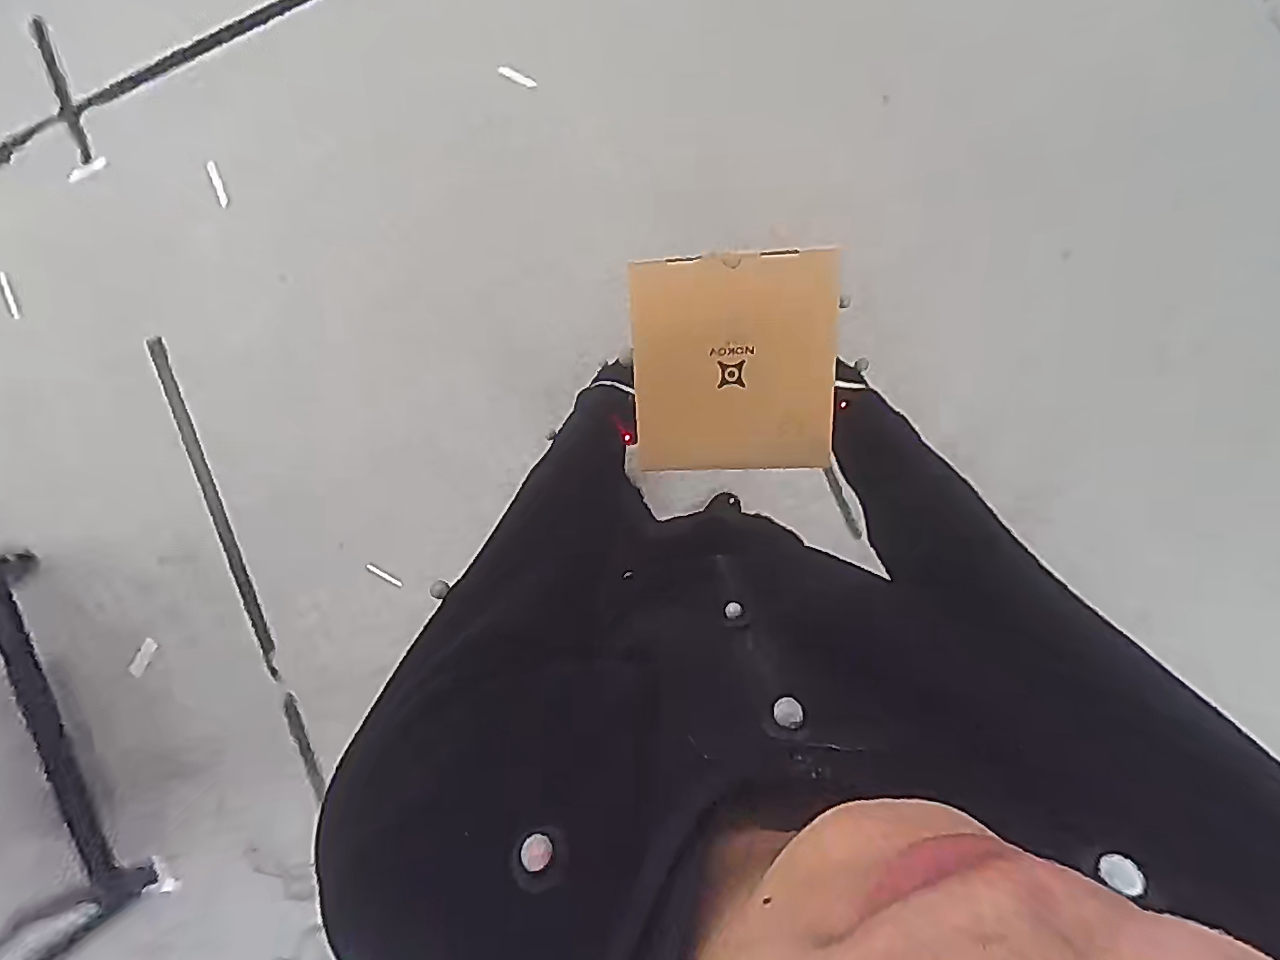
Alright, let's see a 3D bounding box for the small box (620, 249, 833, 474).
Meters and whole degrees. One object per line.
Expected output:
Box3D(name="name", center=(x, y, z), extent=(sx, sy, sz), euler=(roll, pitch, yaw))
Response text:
Box3D(name="small box", center=(0.080, -0.114, 0.515), extent=(0.168, 0.176, 0.179), euler=(-2, 107, 8))
